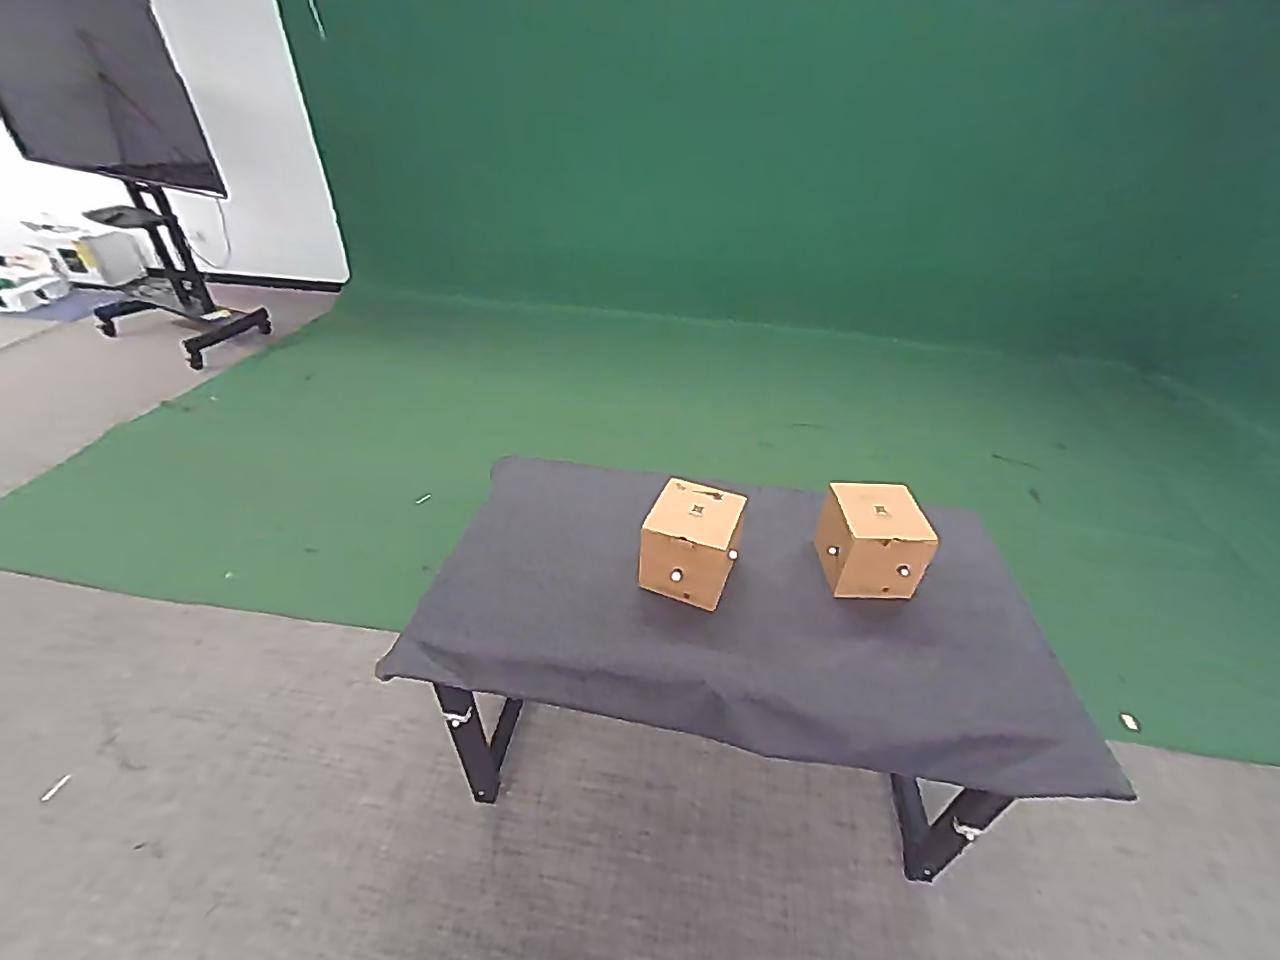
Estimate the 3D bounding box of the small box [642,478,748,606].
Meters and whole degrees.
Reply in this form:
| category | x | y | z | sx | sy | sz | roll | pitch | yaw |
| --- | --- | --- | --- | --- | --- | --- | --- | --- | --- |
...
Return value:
| category | x | y | z | sx | sy | sz | roll | pitch | yaw |
| --- | --- | --- | --- | --- | --- | --- | --- | --- | --- |
| small box | 0.110 | 0.128 | 1.108 | 0.168 | 0.176 | 0.179 | 17 | 39 | 16 |

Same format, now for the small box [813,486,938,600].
| category | x | y | z | sx | sy | sz | roll | pitch | yaw |
| --- | --- | --- | --- | --- | --- | --- | --- | --- | --- |
| small box | 0.481 | 0.132 | 1.134 | 0.168 | 0.176 | 0.179 | 3 | 36 | -2 |
